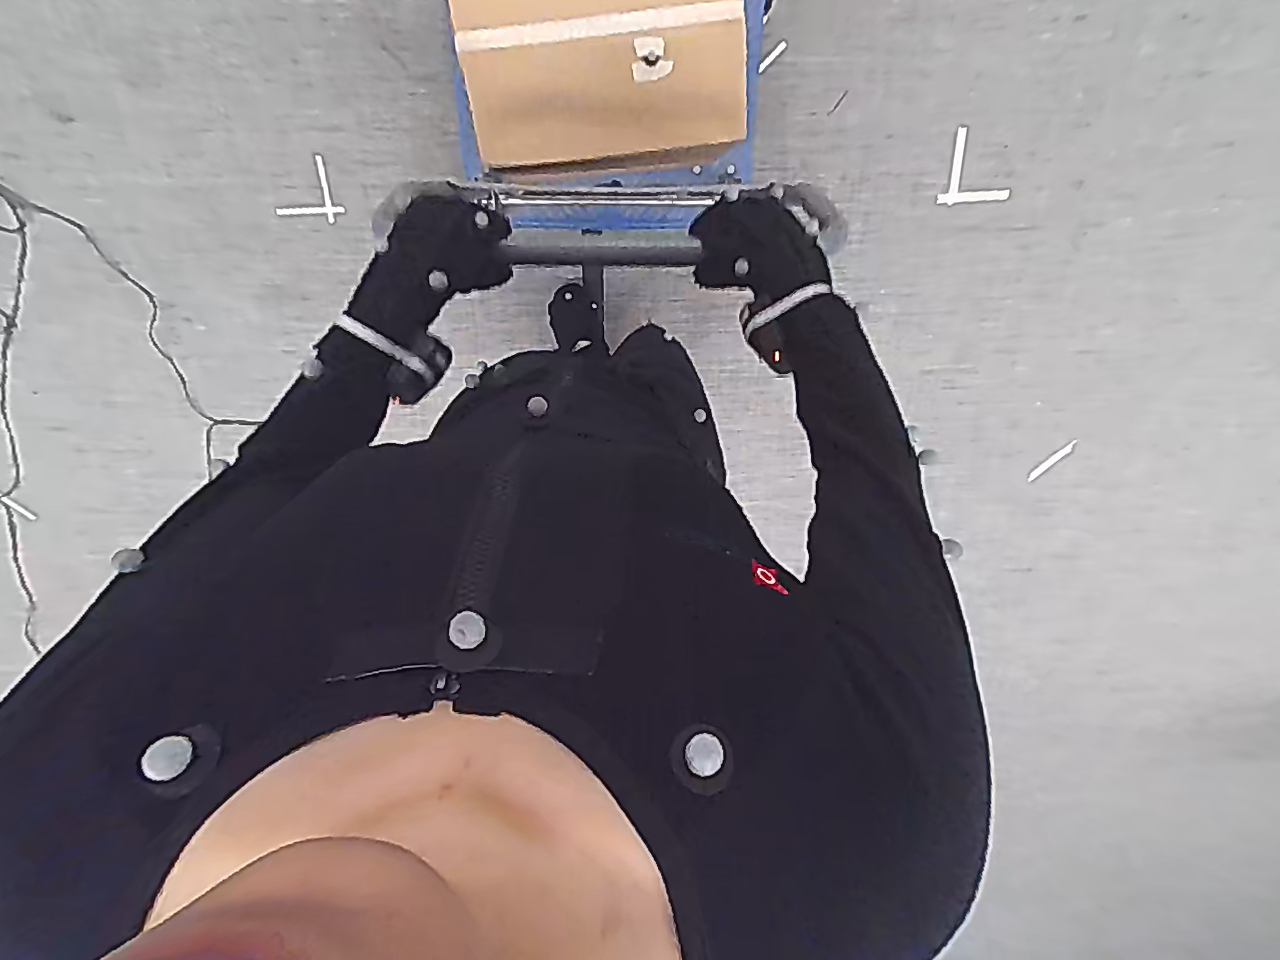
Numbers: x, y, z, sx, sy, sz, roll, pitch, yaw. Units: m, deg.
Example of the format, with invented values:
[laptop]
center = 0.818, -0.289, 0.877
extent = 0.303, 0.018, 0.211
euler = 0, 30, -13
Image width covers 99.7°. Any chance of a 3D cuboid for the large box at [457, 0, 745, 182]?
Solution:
[large box]
center = -0.063, -0.711, 0.903
extent = 0.408, 0.320, 0.320
euler = -7, 114, -1
